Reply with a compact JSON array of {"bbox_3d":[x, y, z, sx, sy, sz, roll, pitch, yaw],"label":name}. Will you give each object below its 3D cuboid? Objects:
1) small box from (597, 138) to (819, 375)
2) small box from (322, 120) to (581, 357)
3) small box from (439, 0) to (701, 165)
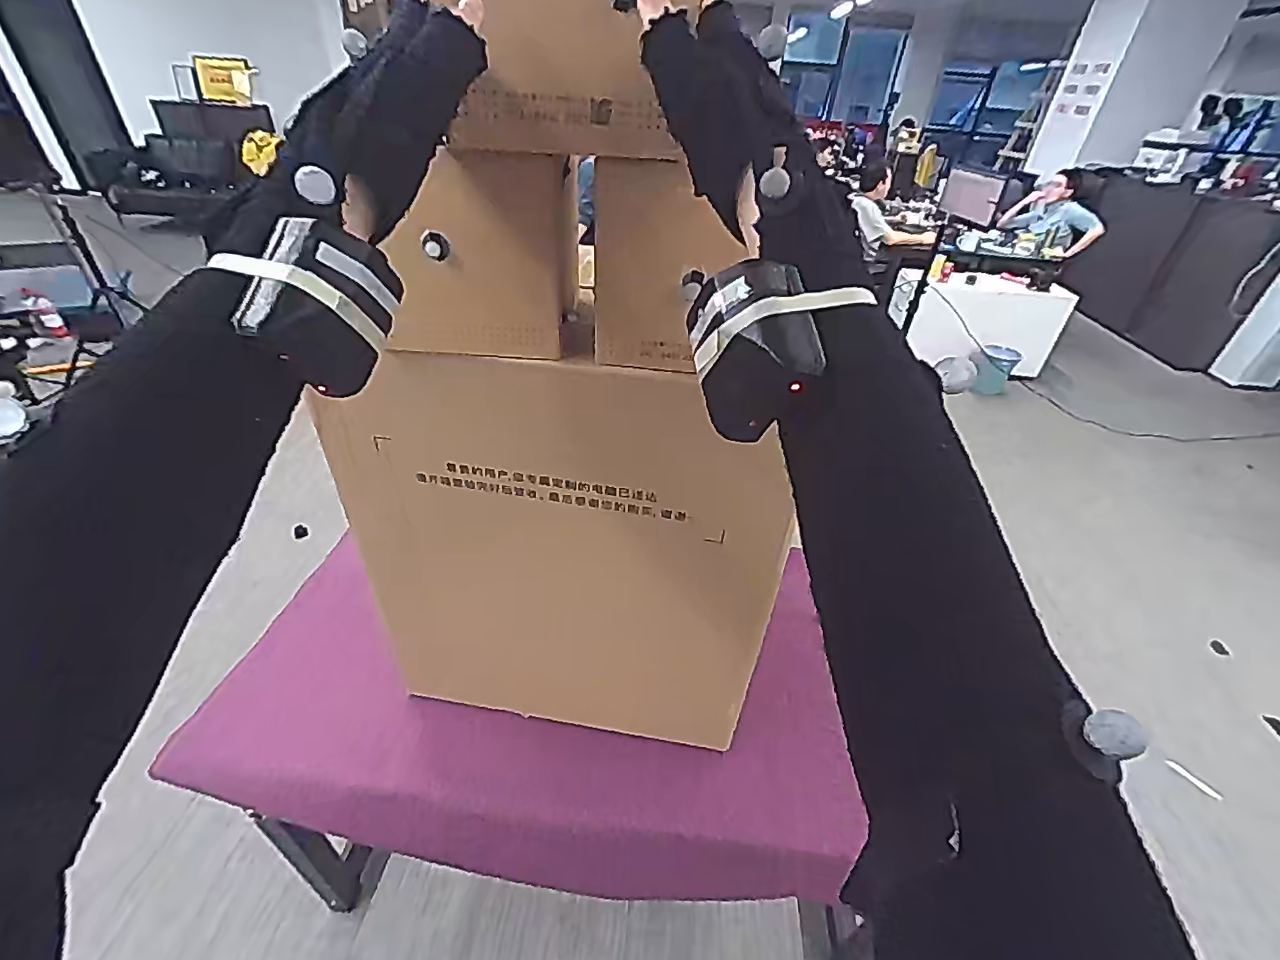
[{"bbox_3d":[0.056,-0.213,0.507,0.168,0.176,0.179,7,38,3],"label":"small box"},{"bbox_3d":[-0.149,-0.226,0.508,0.179,0.176,0.168,3,37,-1],"label":"small box"},{"bbox_3d":[-0.046,-0.339,0.397,0.168,0.176,0.179,1,36,-5],"label":"small box"}]
